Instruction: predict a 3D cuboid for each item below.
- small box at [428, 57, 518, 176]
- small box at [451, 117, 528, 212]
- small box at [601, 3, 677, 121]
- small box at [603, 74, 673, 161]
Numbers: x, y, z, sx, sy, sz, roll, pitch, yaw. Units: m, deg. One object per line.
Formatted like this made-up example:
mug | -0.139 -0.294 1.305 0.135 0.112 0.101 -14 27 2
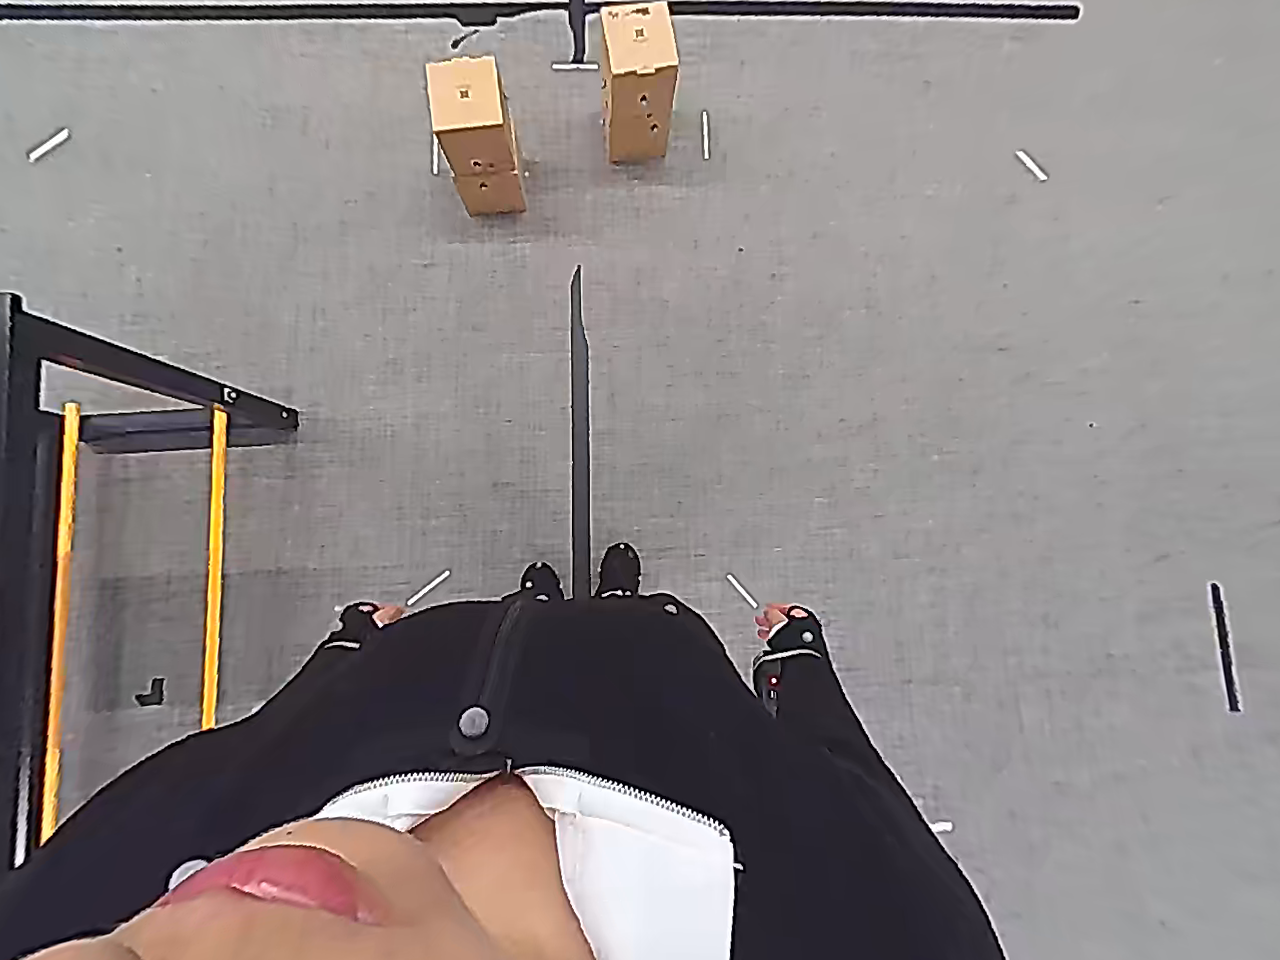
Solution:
small box | -0.409 -0.894 1.341 0.168 0.176 0.179 -8 86 -2
small box | -0.415 -0.868 1.501 0.179 0.176 0.168 -5 85 -3
small box | -0.005 -1.049 1.375 0.168 0.176 0.179 -9 86 -4
small box | -0.011 -1.043 1.539 0.179 0.176 0.168 -8 85 -4
